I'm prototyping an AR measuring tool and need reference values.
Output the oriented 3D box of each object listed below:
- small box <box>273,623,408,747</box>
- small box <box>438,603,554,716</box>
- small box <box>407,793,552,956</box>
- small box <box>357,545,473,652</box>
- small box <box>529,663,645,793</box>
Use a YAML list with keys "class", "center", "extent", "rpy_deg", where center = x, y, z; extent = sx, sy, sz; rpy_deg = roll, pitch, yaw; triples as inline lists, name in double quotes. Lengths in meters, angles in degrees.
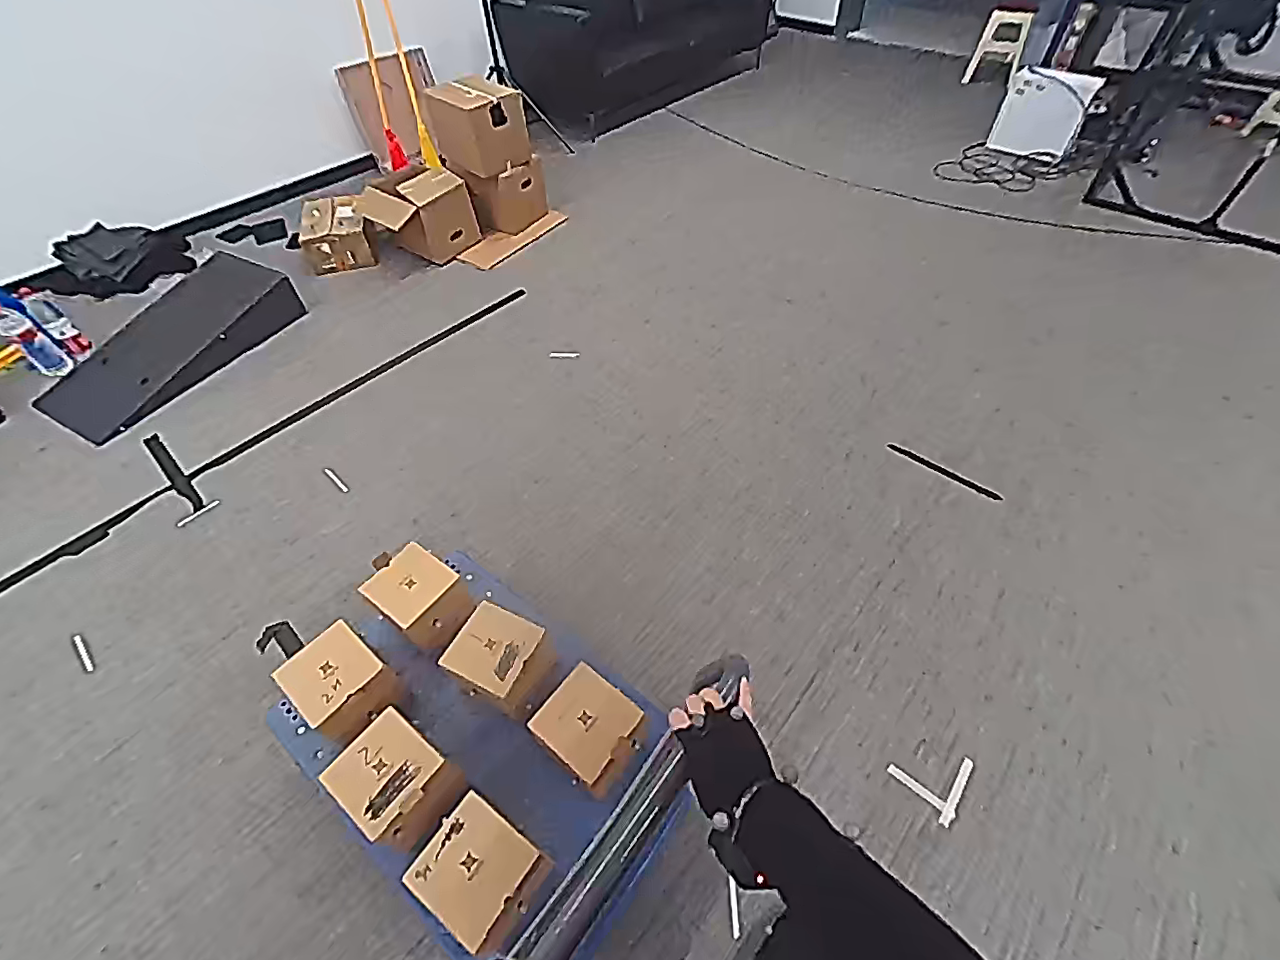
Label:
- class: "small box"
  center: [-0.653, 0.459, 1.198]
  extent: [0.179, 0.176, 0.168]
  rpy_deg: [33, 59, 23]
- class: "small box"
  center: [-0.316, 0.414, 1.229]
  extent: [0.179, 0.176, 0.168]
  rpy_deg: [19, 54, 17]
- class: "small box"
  center: [-0.280, 0.713, 0.986]
  extent: [0.179, 0.176, 0.168]
  rpy_deg: [28, 56, 21]
- class: "small box"
  center: [-0.541, 0.298, 1.329]
  extent: [0.179, 0.176, 0.168]
  rpy_deg: [28, 57, 21]
- class: "small box"
  center: [-0.103, 0.526, 1.136]
  extent: [0.179, 0.176, 0.168]
  rpy_deg: [31, 57, 24]
